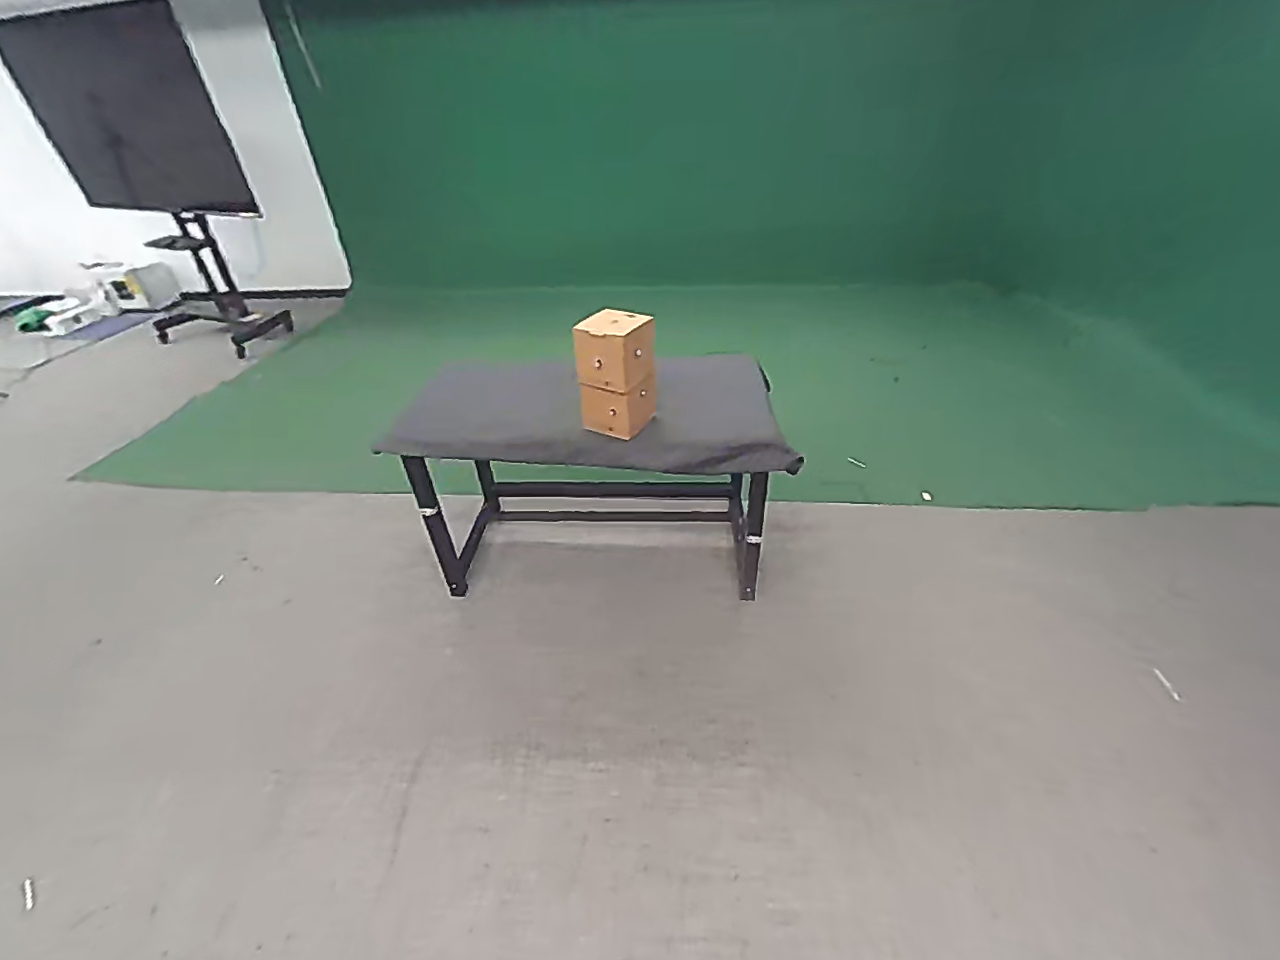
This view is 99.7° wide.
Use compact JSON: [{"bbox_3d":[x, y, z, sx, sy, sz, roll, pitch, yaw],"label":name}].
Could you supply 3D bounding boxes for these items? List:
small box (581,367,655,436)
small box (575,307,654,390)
[{"bbox_3d":[-0.061,-0.255,1.671,0.168,0.176,0.179,18,40,24],"label":"small box"},{"bbox_3d":[-0.066,-0.380,1.564,0.168,0.176,0.179,19,42,24],"label":"small box"}]
